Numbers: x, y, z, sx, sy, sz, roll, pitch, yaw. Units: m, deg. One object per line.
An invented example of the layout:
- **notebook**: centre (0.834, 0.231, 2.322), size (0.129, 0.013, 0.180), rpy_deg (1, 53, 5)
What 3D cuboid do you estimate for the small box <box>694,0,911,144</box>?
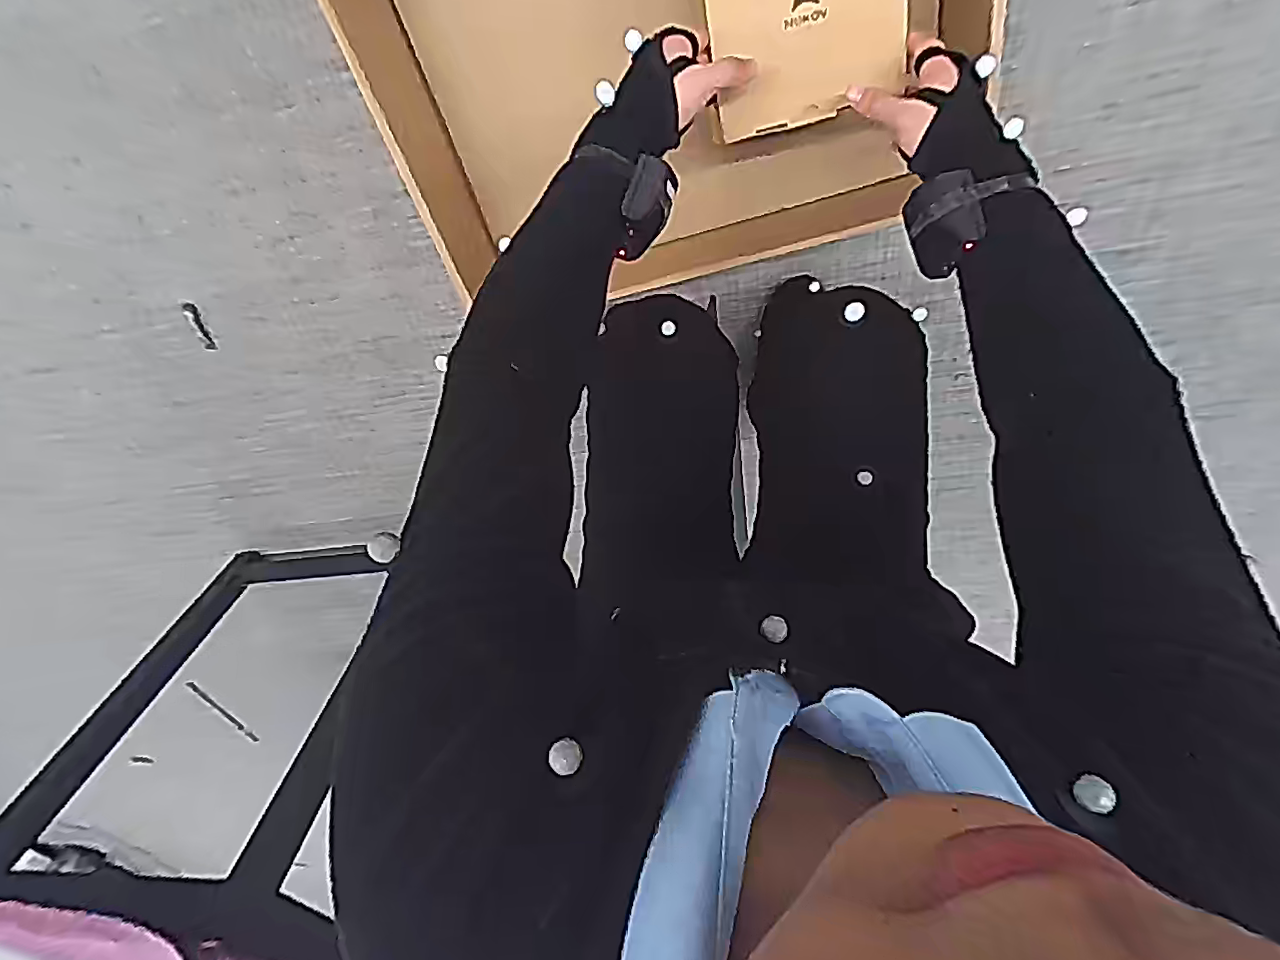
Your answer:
- **small box**: centre (0.143, -0.440, 0.516), size (0.168, 0.176, 0.179), rpy_deg (-10, 120, 12)
